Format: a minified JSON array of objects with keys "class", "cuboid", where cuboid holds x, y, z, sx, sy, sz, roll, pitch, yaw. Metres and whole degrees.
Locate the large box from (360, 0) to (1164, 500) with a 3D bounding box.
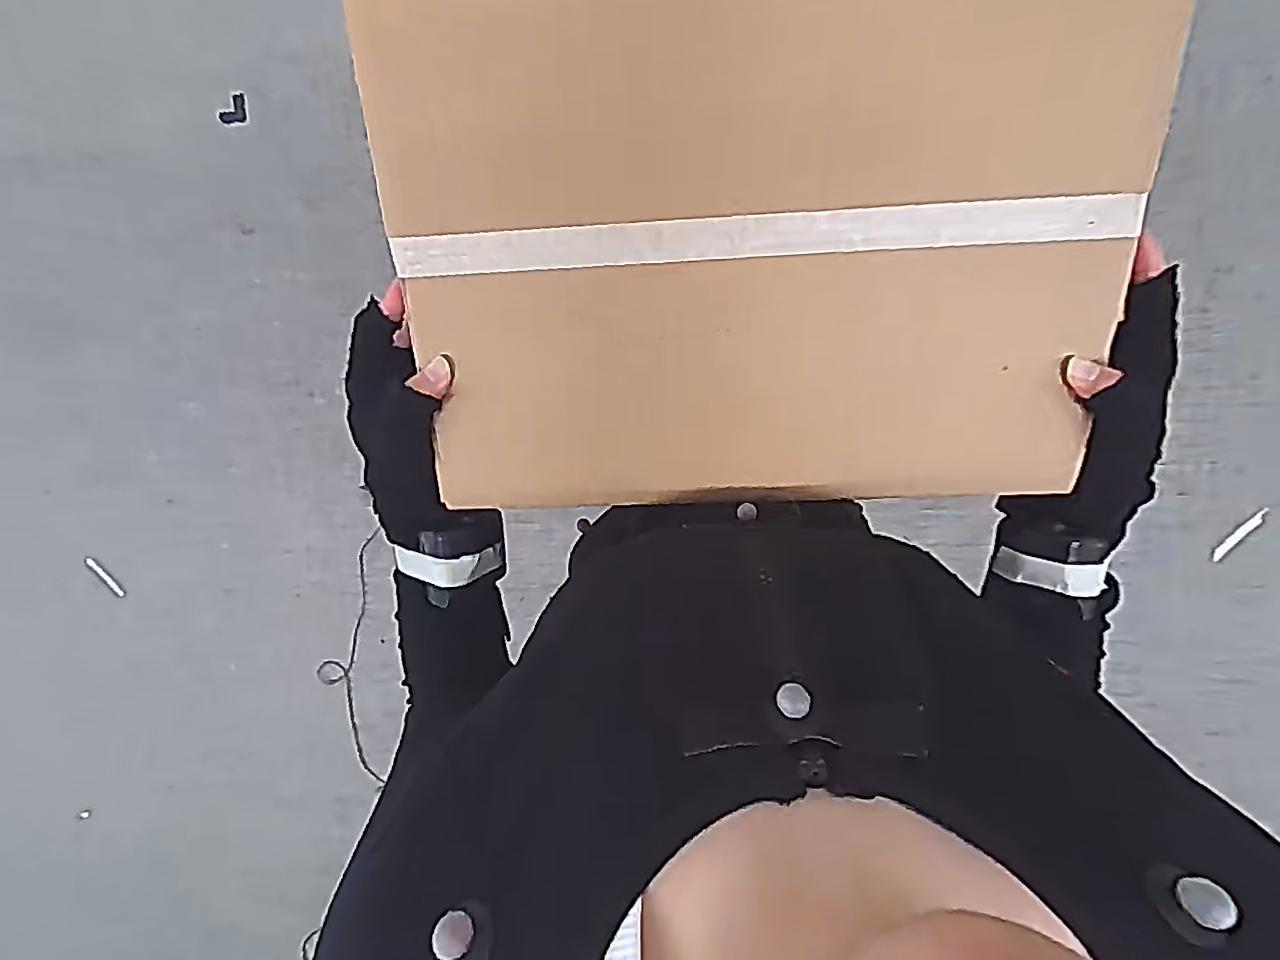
[{"class":"large box","cuboid":[0.065,-0.189,0.446,0.408,0.320,0.320,-2,111,3]}]
